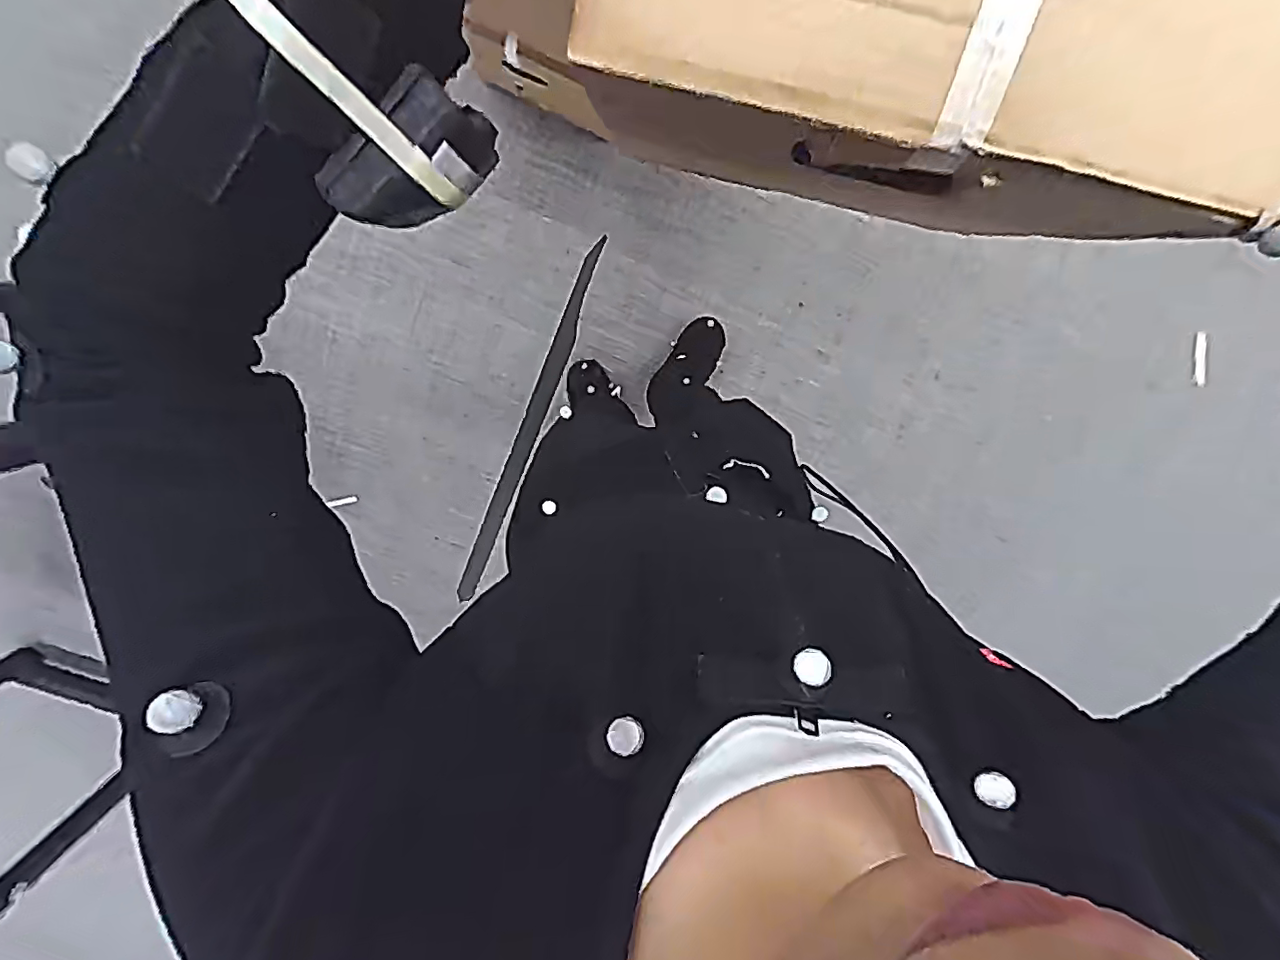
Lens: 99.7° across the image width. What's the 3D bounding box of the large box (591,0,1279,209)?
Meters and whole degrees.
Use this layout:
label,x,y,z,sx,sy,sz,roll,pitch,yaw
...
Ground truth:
label,x,y,z,sx,sy,sz,roll,pitch,yaw
large box,0.166,-0.384,0.267,0.320,0.320,0.408,10,116,-3
